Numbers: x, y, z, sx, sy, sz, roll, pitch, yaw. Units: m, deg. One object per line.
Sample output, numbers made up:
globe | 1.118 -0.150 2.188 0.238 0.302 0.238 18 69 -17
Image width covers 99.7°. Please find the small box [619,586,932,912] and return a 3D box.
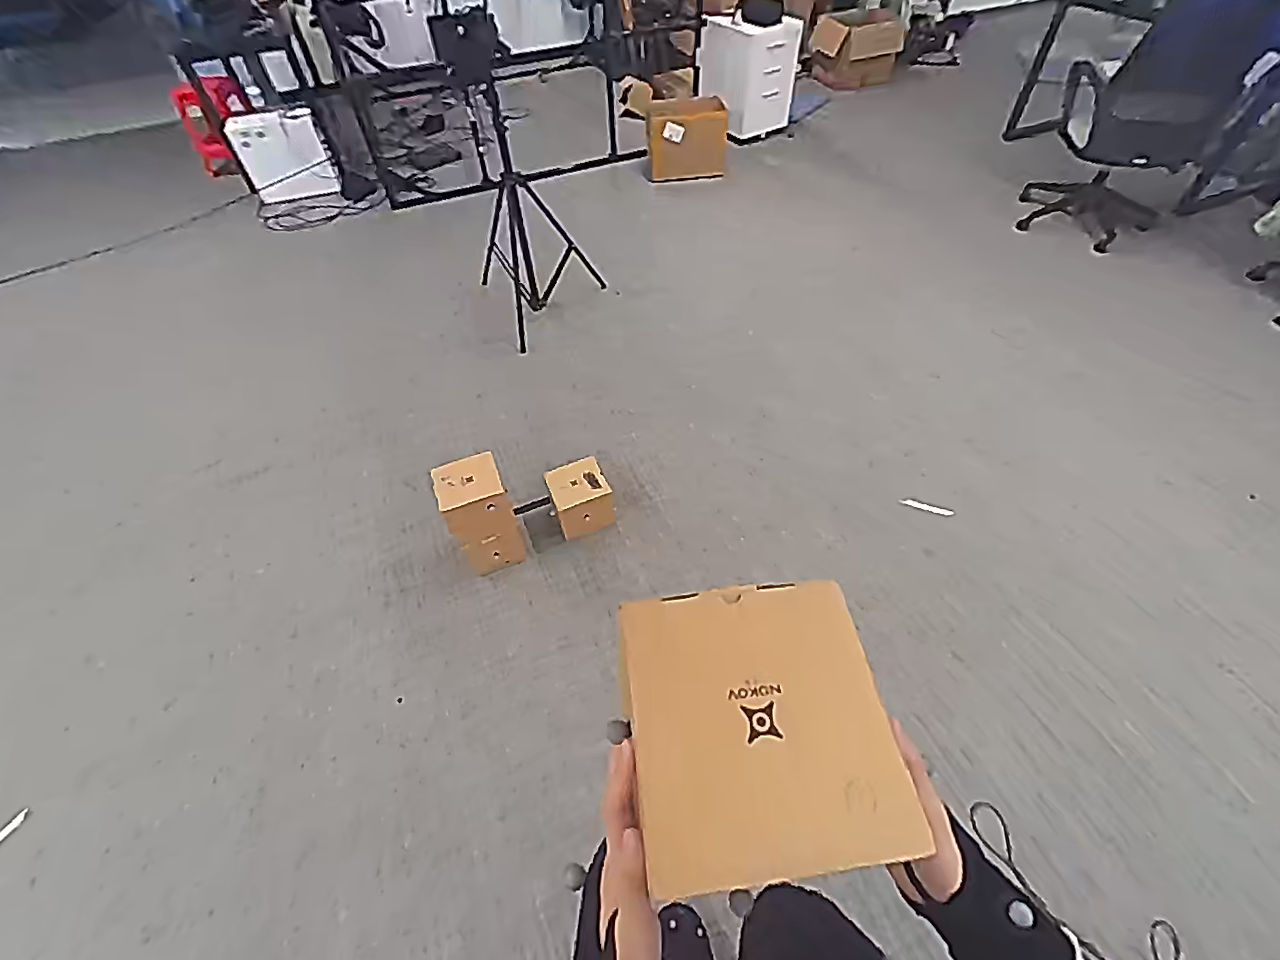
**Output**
small box | 0.075 0.203 0.411 0.168 0.176 0.179 -5 52 -6

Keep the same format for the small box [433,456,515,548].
small box | -0.466 0.064 1.541 0.179 0.176 0.168 -19 51 -12

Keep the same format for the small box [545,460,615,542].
small box | -0.187 0.070 1.732 0.179 0.176 0.168 -21 53 -12
